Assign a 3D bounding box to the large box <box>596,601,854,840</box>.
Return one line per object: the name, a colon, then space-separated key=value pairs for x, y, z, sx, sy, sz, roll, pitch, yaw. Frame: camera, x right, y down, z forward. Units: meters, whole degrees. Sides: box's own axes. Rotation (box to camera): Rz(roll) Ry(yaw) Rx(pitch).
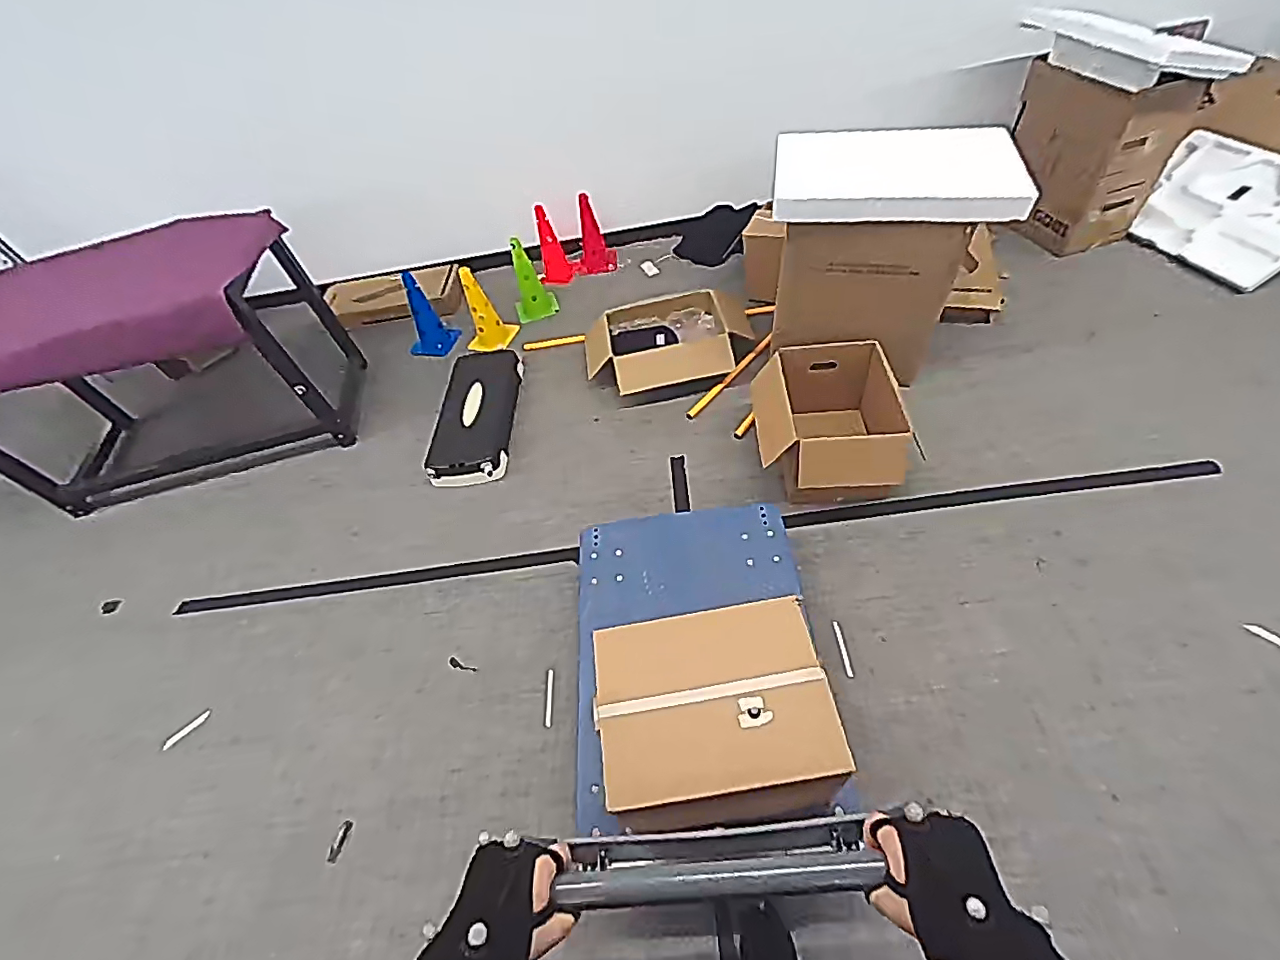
large box: x=0.146 y=0.481 z=1.072 sx=0.408 sy=0.320 sz=0.320 roll=-10 pitch=50 yaw=0
